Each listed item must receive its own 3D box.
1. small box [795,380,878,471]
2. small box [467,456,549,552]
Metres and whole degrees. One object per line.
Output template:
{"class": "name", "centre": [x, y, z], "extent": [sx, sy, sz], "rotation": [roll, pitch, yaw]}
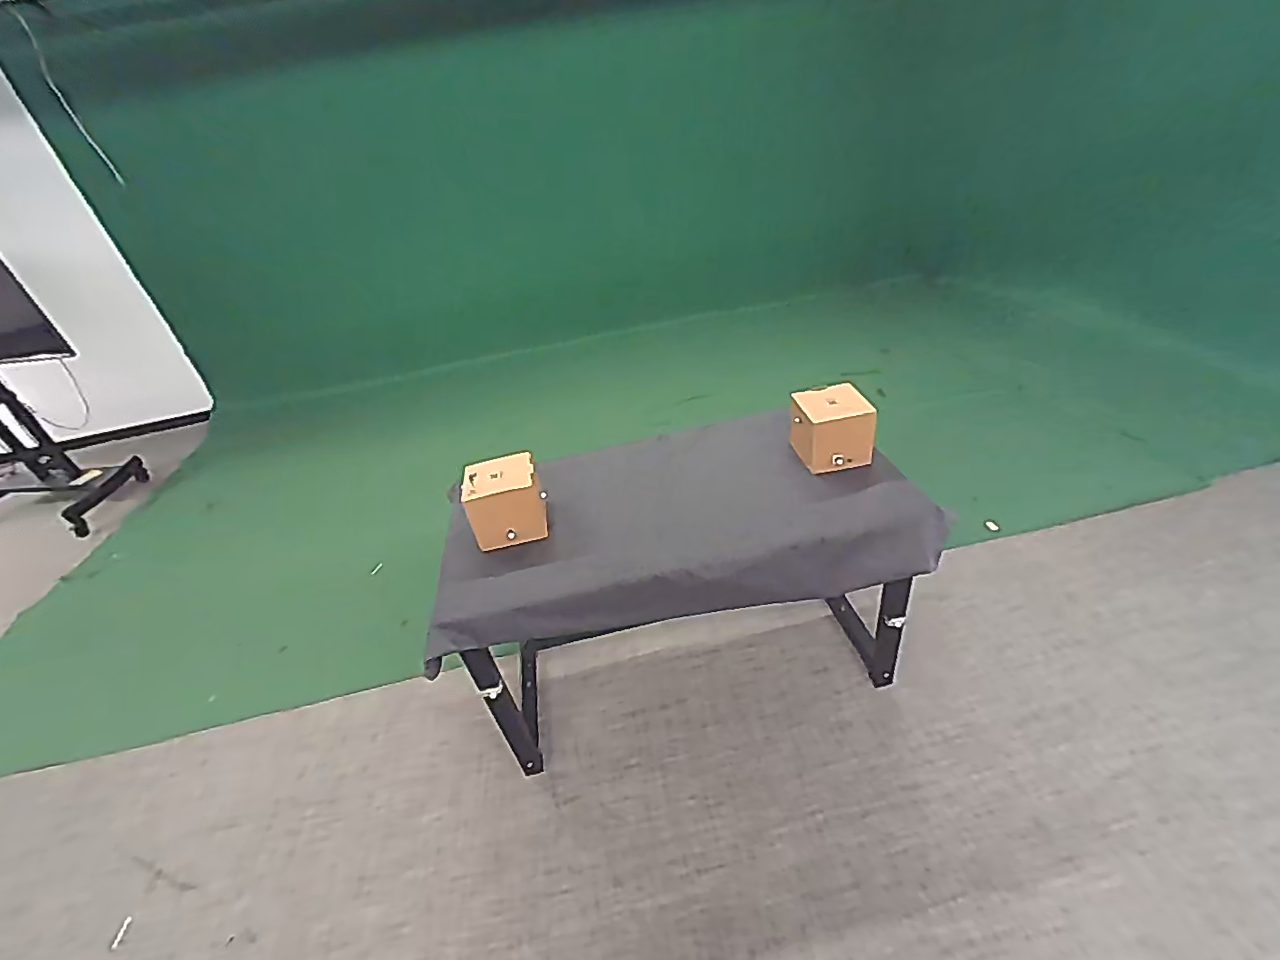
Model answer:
{"class": "small box", "centre": [0.523, -0.148, 1.465], "extent": [0.168, 0.176, 0.179], "rotation": [-11, 35, 3]}
{"class": "small box", "centre": [-0.338, 0.063, 1.418], "extent": [0.179, 0.176, 0.168], "rotation": [-12, 35, -5]}
